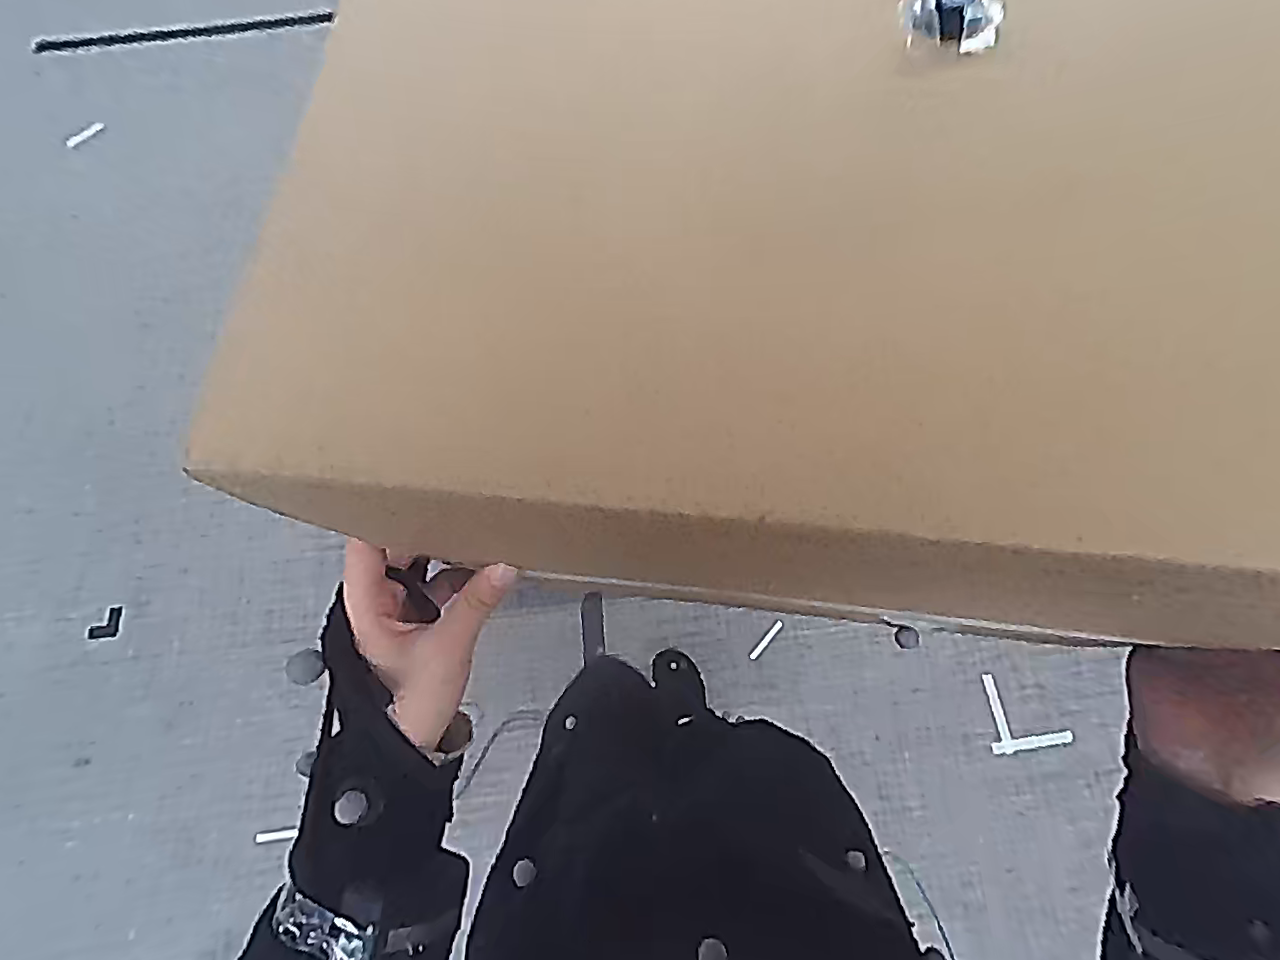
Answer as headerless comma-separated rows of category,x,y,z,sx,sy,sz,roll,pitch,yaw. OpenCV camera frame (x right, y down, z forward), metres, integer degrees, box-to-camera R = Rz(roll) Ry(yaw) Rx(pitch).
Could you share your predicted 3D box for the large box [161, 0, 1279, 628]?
large box,0.084,-0.096,0.308,0.408,0.320,0.320,3,76,5
